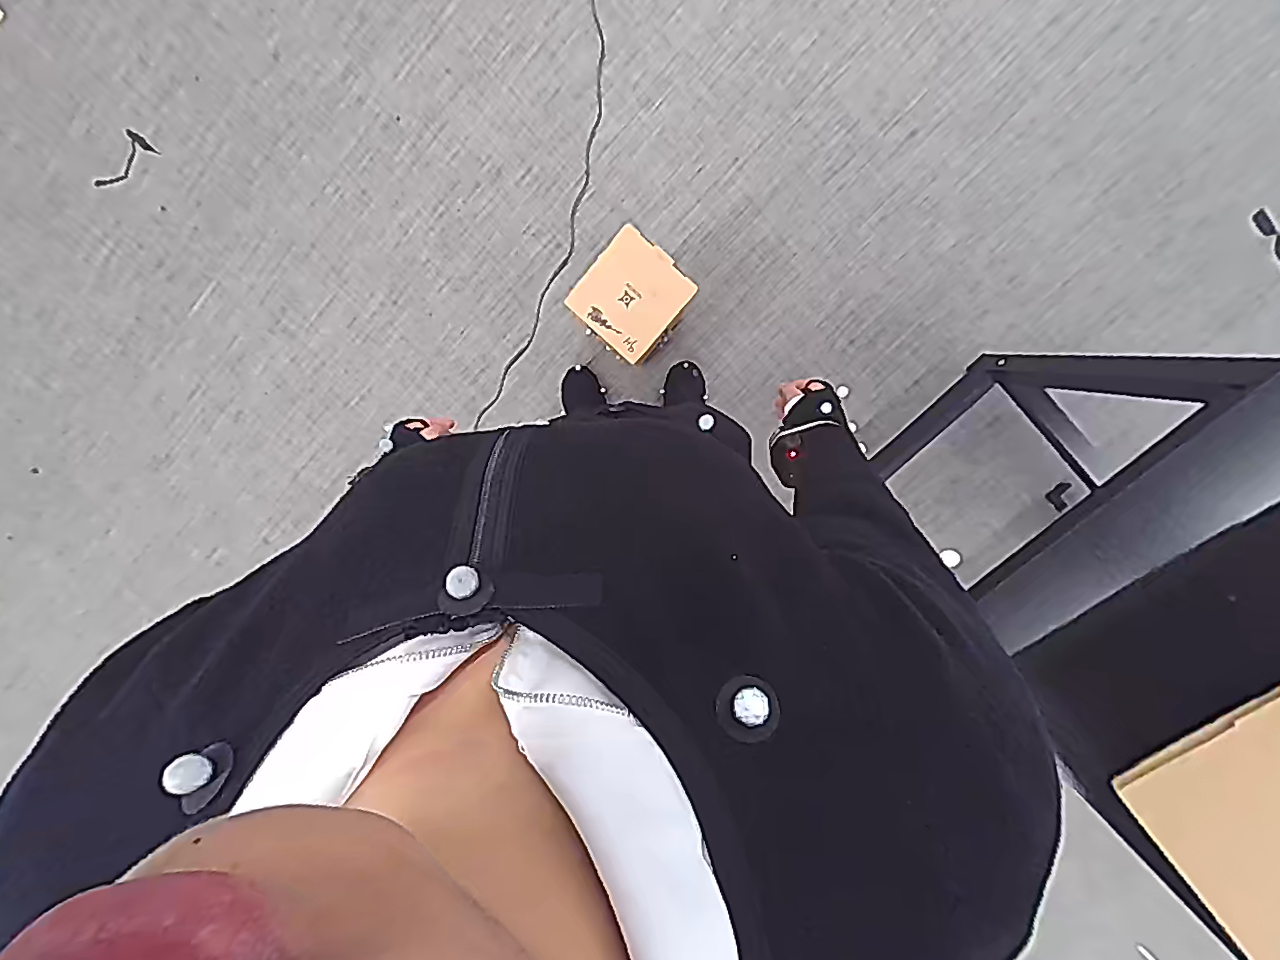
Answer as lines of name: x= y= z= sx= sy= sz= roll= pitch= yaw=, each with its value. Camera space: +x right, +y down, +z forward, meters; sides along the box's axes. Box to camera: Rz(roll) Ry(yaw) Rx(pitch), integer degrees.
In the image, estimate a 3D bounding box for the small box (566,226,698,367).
small box: x=-0.014 y=-0.331 z=1.012 sx=0.168 sy=0.176 sz=0.179 roll=41 pitch=100 yaw=-6
